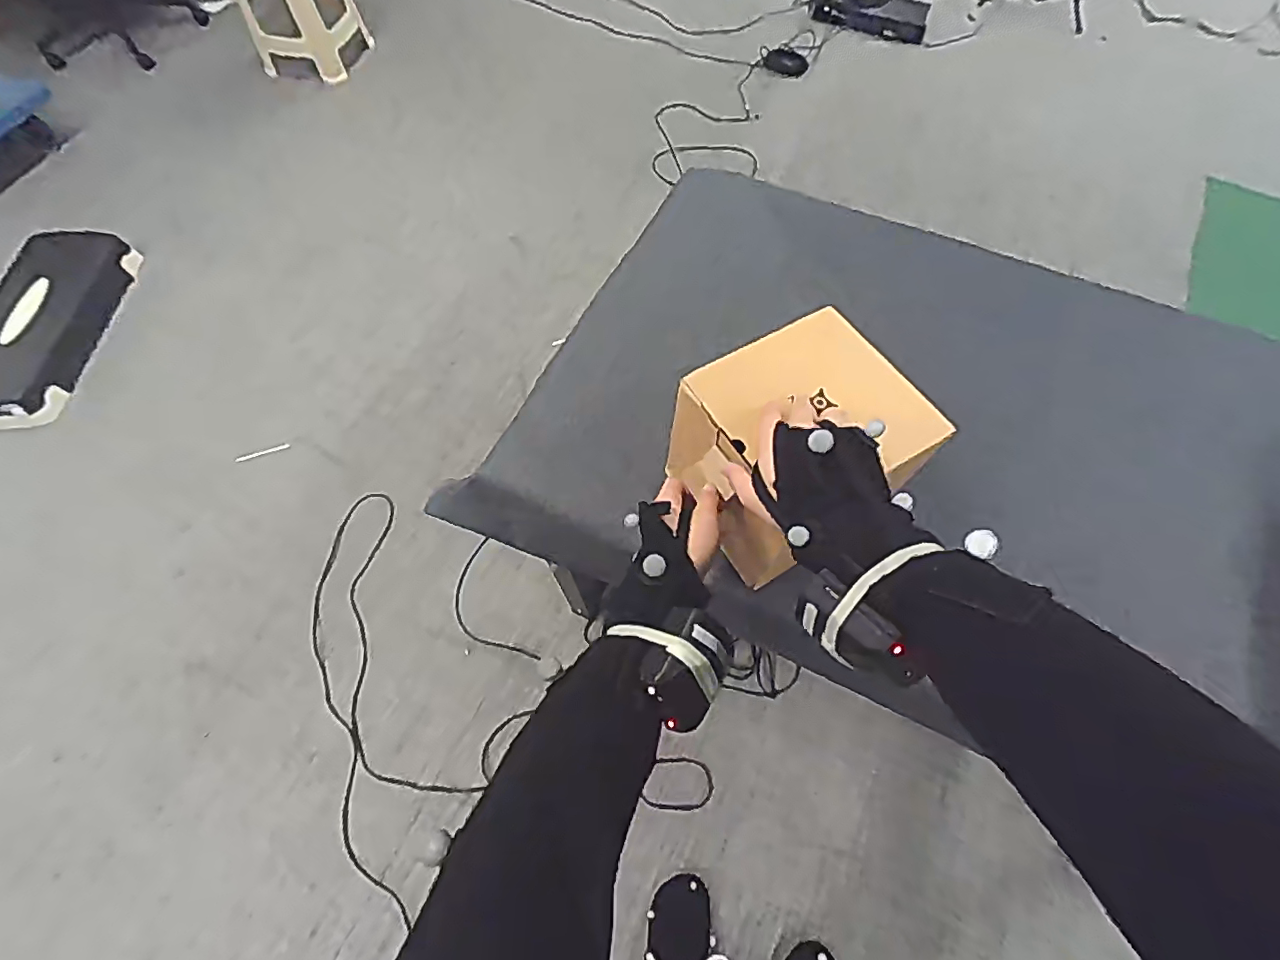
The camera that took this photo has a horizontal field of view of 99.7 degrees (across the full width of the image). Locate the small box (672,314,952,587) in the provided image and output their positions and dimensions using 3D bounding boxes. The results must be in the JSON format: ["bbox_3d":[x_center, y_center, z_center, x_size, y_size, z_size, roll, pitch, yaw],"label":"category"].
[{"bbox_3d":[0.147,-0.022,0.531,0.179,0.176,0.168,-28,66,-15],"label":"small box"}]
